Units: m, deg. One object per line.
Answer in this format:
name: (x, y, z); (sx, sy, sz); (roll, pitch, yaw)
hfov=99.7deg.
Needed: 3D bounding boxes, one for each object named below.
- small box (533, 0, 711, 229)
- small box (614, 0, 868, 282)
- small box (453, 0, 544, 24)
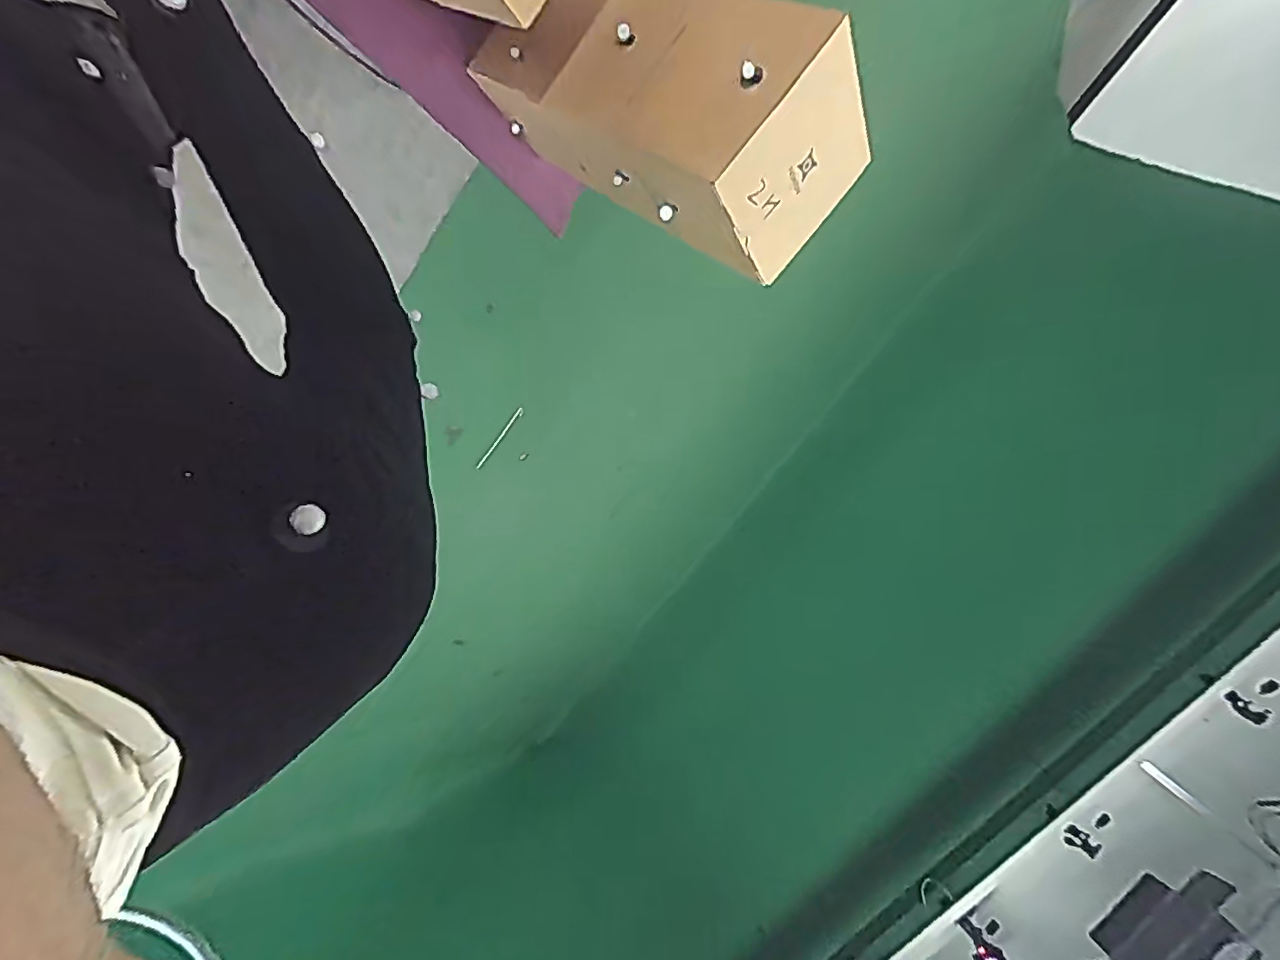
small box: (0.004, -0.454, 0.654); (0.179, 0.176, 0.168); (-51, 148, 8)
small box: (0.106, -0.355, 0.570); (0.179, 0.176, 0.168); (-49, 148, 8)
small box: (-0.135, -0.517, 0.419); (0.179, 0.176, 0.168); (-52, 148, 10)
